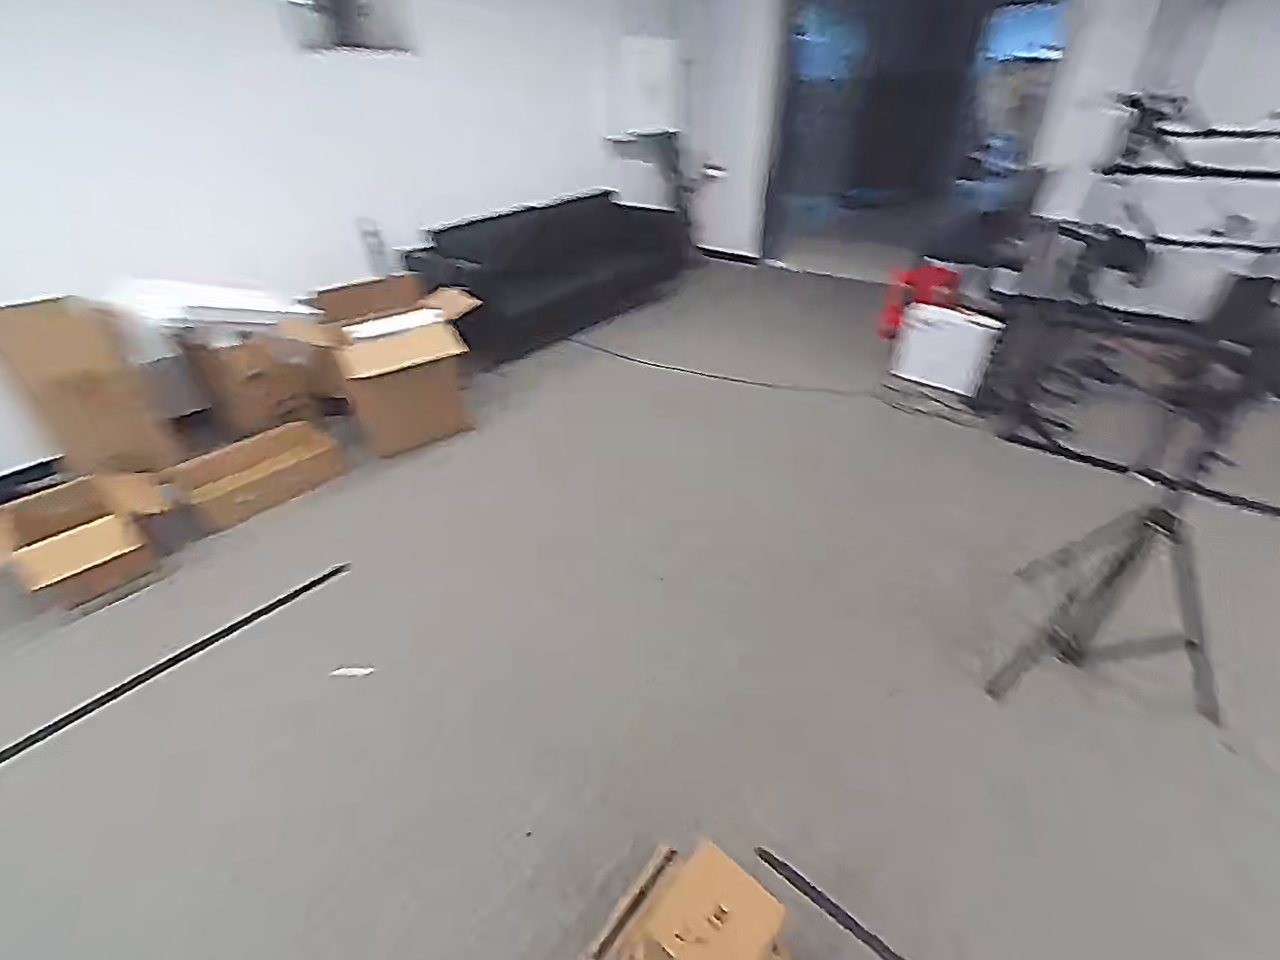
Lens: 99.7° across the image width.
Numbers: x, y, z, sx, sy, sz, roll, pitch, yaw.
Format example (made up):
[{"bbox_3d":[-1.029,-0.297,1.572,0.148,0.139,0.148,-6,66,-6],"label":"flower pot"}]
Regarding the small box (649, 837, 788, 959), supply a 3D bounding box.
[{"bbox_3d":[0.128,0.776,0.929,0.168,0.176,0.179,27,45,34],"label":"small box"}]
